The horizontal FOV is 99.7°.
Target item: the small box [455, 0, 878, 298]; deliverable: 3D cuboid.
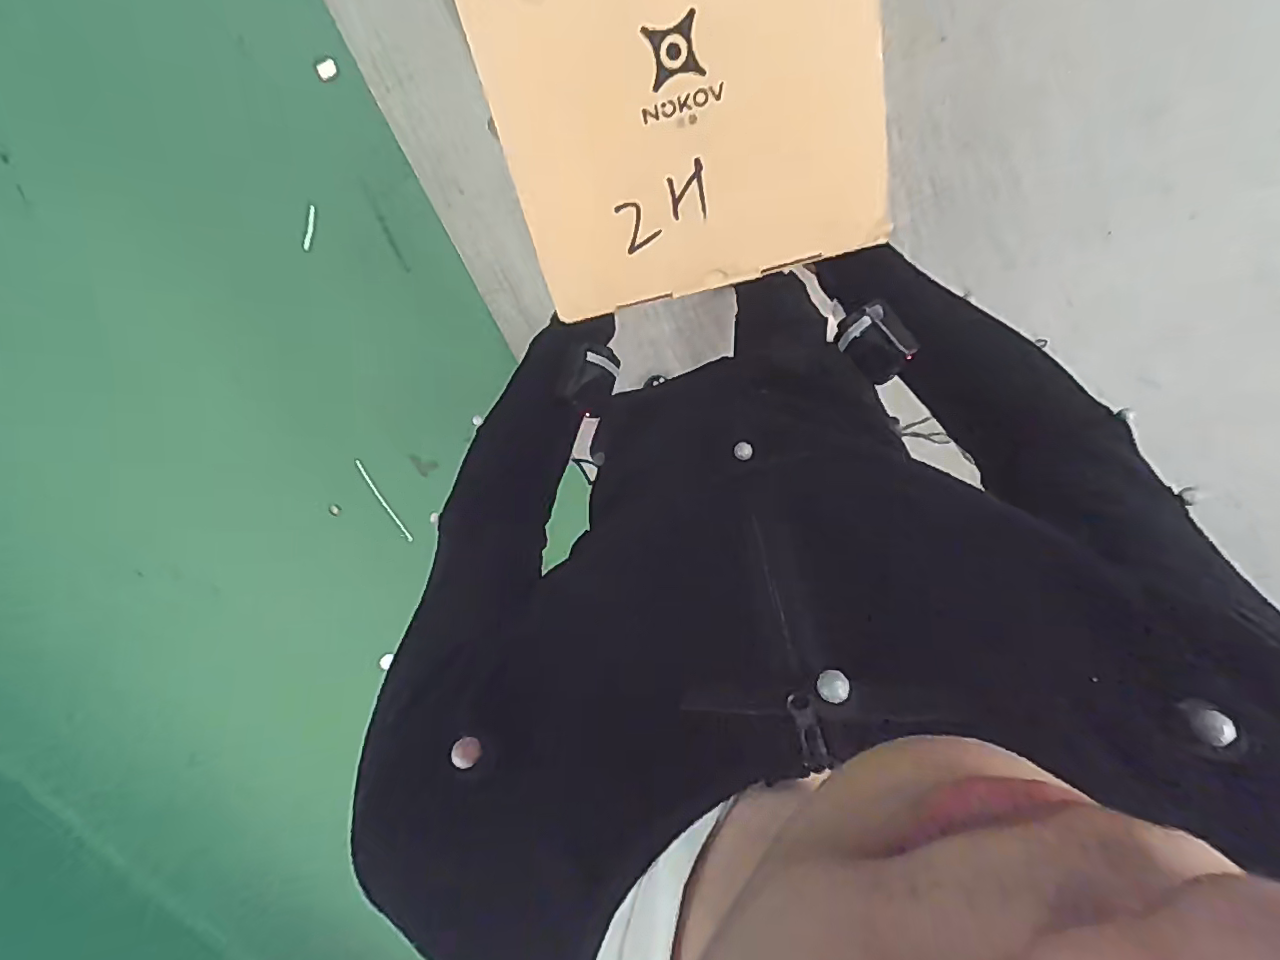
[{"bbox_3d":[0.018,-0.219,0.296,0.168,0.176,0.179,-10,118,13],"label":"small box"}]
